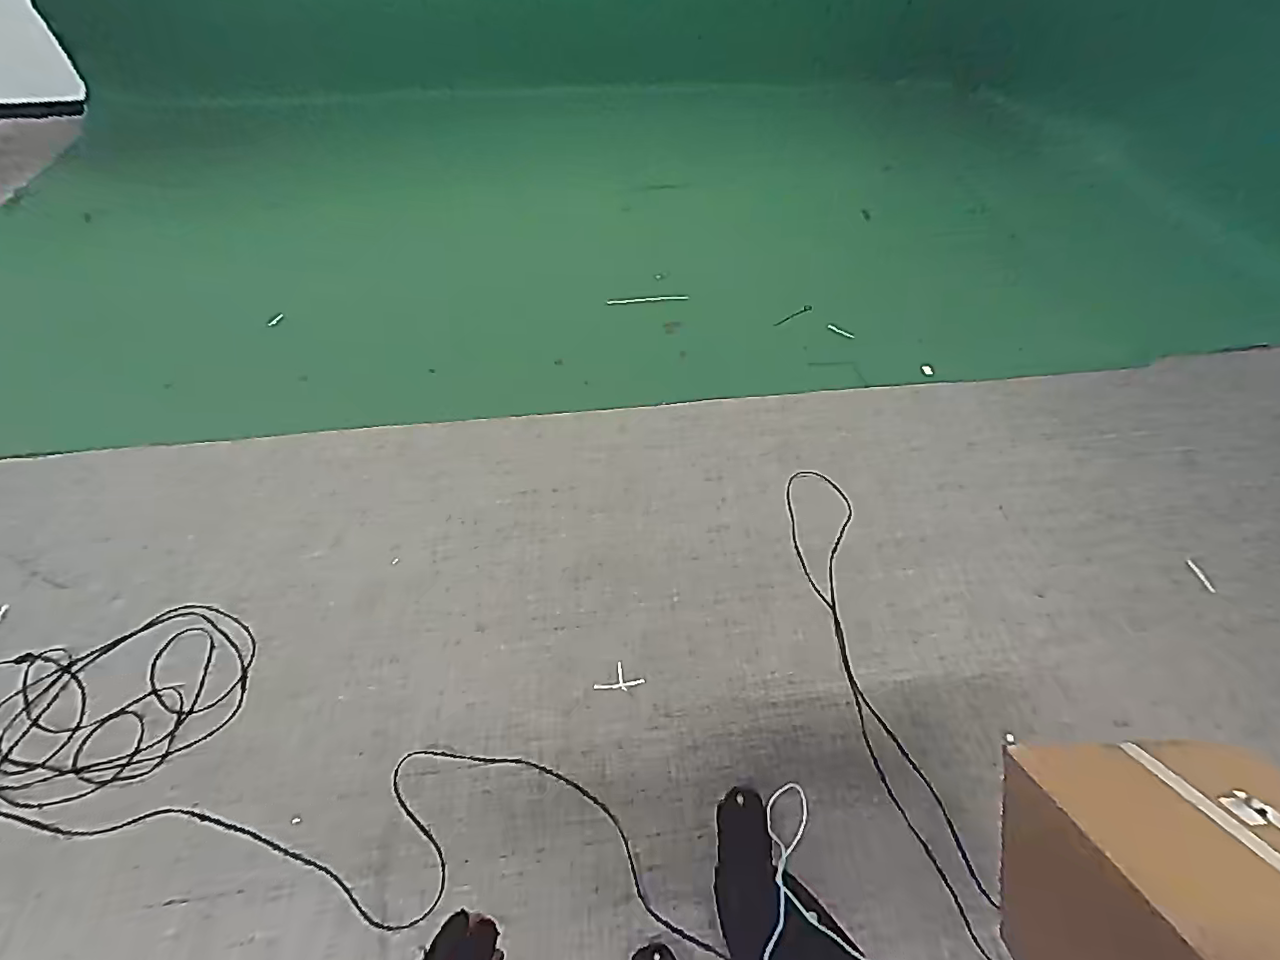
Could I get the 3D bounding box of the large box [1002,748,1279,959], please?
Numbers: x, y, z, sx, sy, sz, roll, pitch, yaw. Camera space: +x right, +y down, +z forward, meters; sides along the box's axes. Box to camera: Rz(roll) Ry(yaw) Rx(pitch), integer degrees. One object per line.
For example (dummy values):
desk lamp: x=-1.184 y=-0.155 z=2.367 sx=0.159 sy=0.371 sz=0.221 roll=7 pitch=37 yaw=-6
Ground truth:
large box: x=0.670 y=0.560 z=0.591 sx=0.320 sy=0.408 sz=0.320 roll=-2 pitch=97 yaw=5
